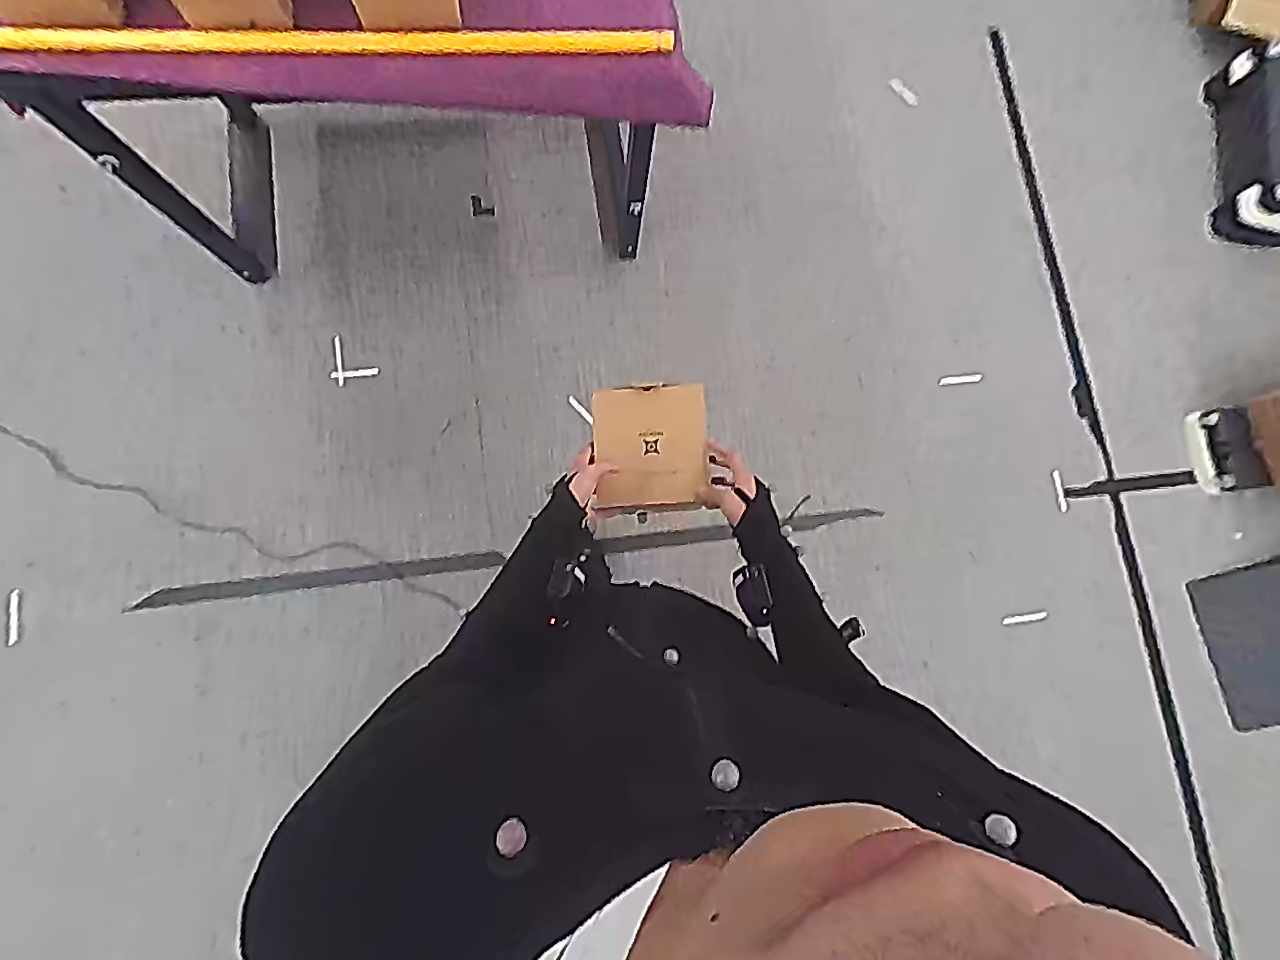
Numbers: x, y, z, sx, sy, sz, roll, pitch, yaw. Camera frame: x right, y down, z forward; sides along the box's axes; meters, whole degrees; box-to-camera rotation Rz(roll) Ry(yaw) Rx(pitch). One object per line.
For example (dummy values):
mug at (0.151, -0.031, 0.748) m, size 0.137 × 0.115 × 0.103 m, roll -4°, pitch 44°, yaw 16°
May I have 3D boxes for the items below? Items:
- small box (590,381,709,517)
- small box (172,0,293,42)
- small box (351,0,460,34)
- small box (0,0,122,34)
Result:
small box at (0.010, -0.041, 0.841) m, size 0.168 × 0.176 × 0.179 m, roll -3°, pitch 81°, yaw -1°
small box at (-0.708, -0.883, 0.900) m, size 0.168 × 0.176 × 0.179 m, roll -7°, pitch 82°, yaw -6°
small box at (-0.425, -0.914, 0.931) m, size 0.179 × 0.176 × 0.168 m, roll -8°, pitch 82°, yaw -7°
small box at (-0.986, -0.864, 0.869) m, size 0.179 × 0.176 × 0.168 m, roll -7°, pitch 82°, yaw -7°
